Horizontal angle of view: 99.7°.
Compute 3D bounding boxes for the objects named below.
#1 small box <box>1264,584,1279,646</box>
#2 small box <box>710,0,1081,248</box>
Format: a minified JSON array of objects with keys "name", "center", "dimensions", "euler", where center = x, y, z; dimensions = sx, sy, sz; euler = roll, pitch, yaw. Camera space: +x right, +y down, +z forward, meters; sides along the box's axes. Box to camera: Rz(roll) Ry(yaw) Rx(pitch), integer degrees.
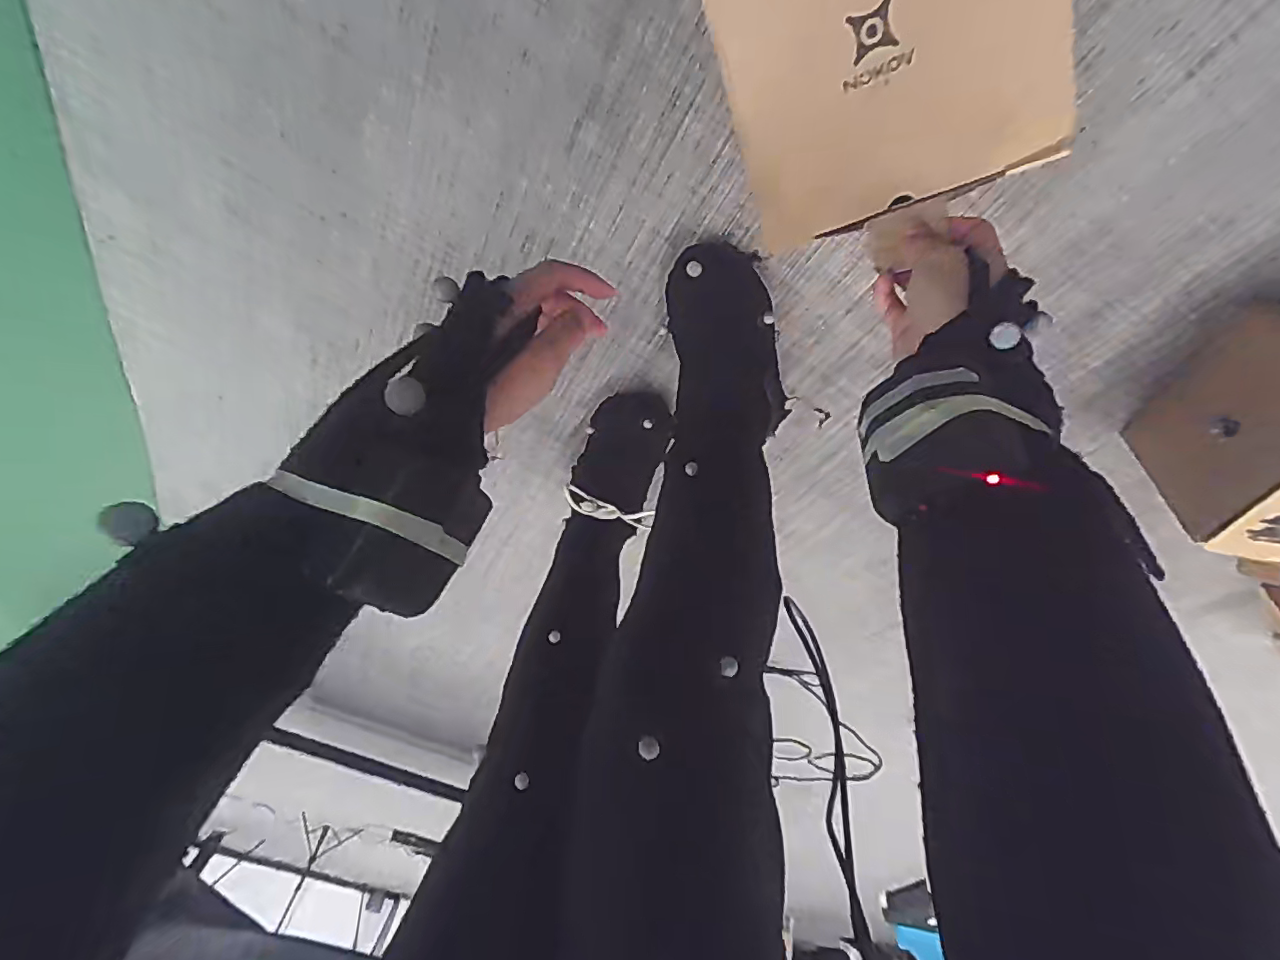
[{"name":"small box","center":[0.971,0.218,0.688],"dimensions":[0.179,0.176,0.168],"euler":[-25,124,34]},{"name":"small box","center":[0.160,-0.277,0.343],"dimensions":[0.168,0.176,0.179],"euler":[-8,117,33]}]
